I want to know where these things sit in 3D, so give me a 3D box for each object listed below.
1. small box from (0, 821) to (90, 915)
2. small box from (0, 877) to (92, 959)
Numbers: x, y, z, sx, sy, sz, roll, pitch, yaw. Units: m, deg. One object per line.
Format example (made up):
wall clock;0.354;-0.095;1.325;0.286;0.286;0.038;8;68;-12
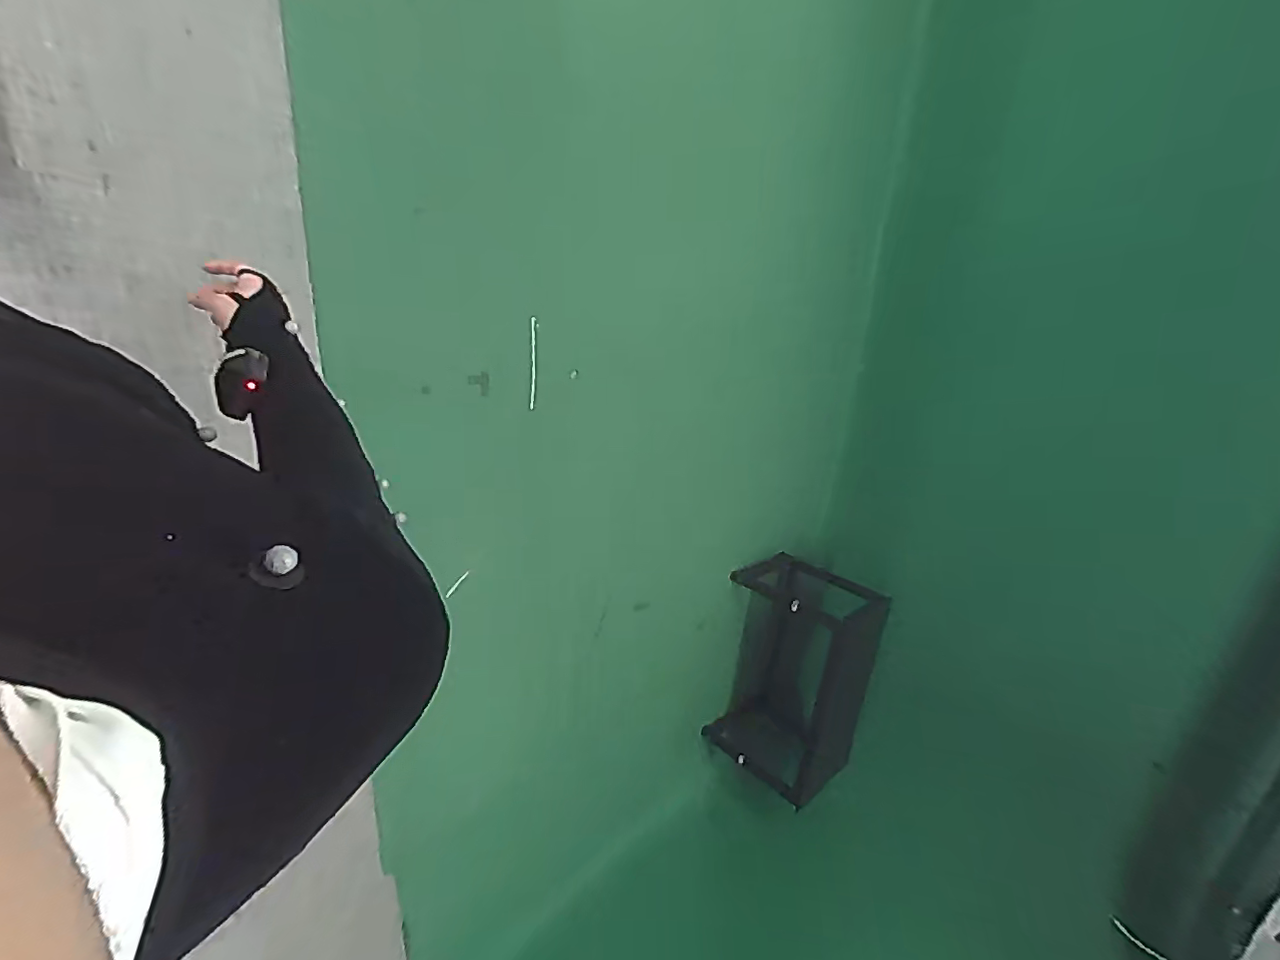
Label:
small box;-1.407;0.942;1.244;0.168;0.176;0.179;-22;121;-39
small box;-1.294;0.989;1.135;0.168;0.176;0.179;-18;120;-41
